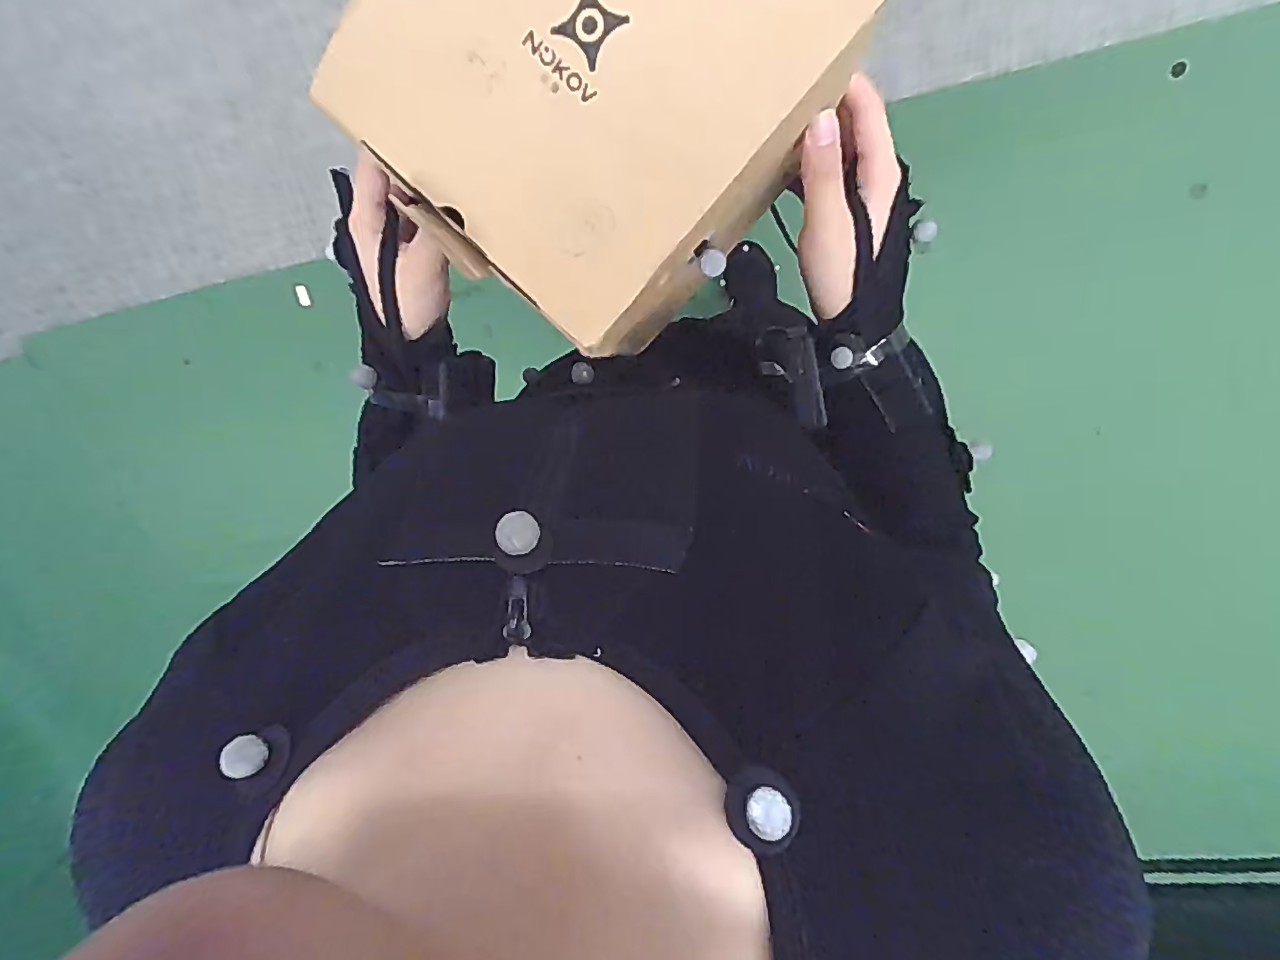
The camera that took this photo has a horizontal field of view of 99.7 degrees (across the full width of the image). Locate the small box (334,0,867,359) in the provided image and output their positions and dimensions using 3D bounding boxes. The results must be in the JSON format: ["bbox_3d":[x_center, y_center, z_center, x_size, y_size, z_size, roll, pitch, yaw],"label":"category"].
[{"bbox_3d":[-0.013,-0.187,0.302,0.168,0.176,0.179,42,106,-3],"label":"small box"}]
